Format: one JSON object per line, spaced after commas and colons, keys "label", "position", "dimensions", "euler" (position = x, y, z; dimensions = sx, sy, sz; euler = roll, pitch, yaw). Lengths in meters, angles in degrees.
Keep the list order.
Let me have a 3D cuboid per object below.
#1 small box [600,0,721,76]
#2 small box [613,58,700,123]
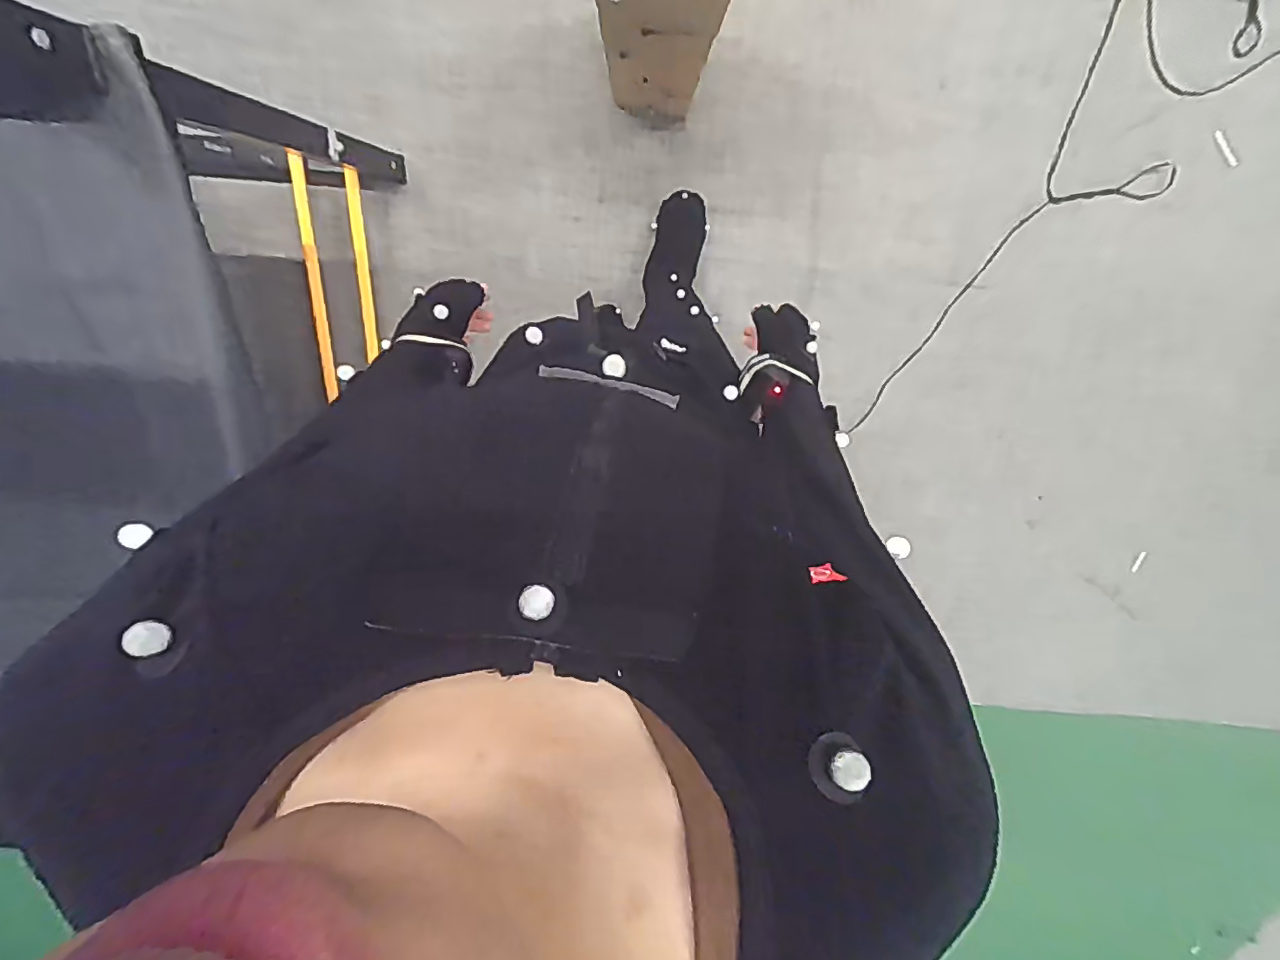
{"label": "small box", "position": [0.038, -0.725, 0.789], "dimensions": [0.168, 0.176, 0.179], "euler": [7, 112, -3]}
{"label": "small box", "position": [0.043, -0.853, 1.091], "dimensions": [0.168, 0.176, 0.179], "euler": [10, 114, -4]}
